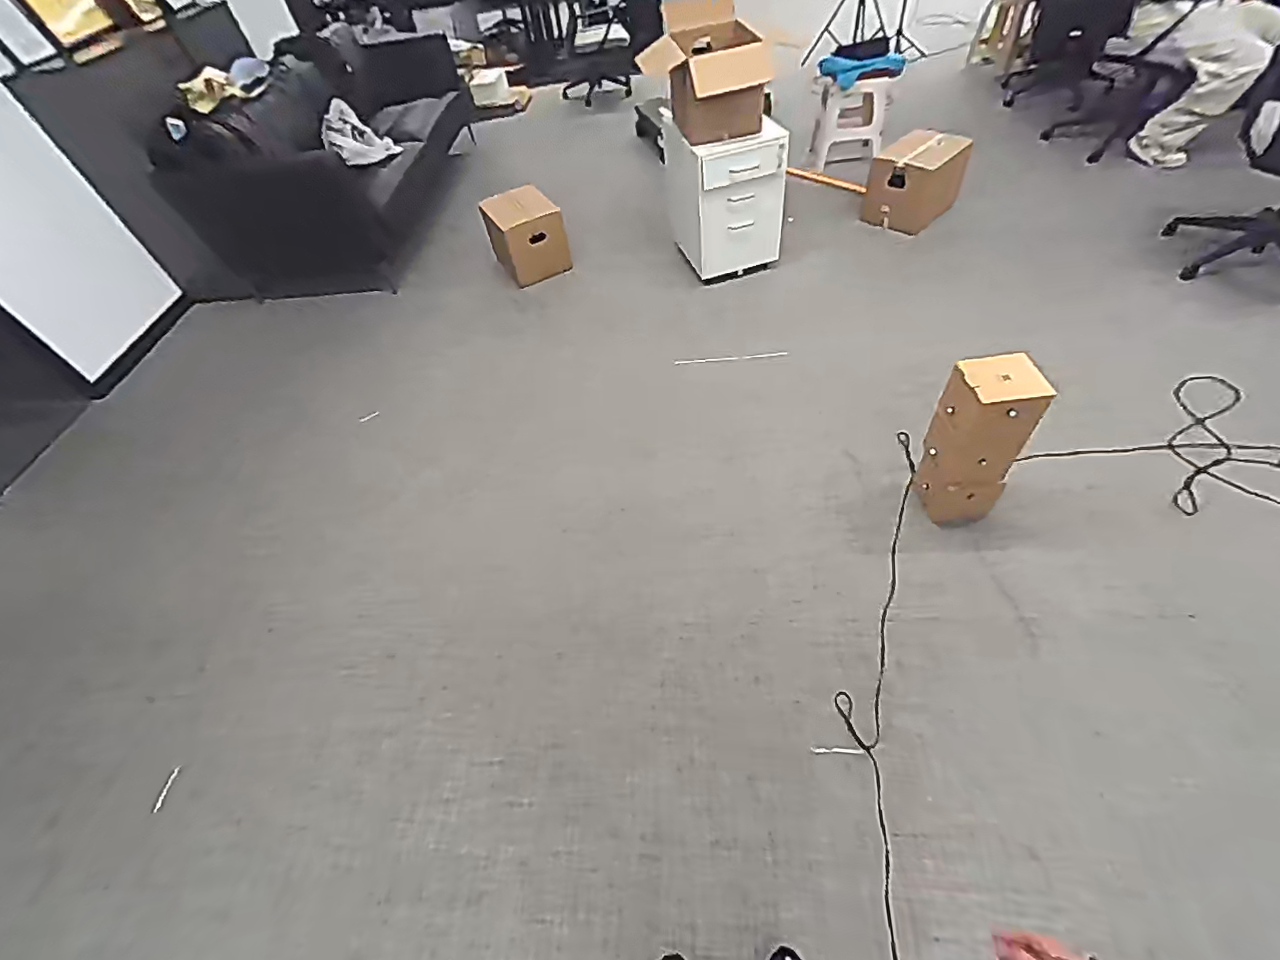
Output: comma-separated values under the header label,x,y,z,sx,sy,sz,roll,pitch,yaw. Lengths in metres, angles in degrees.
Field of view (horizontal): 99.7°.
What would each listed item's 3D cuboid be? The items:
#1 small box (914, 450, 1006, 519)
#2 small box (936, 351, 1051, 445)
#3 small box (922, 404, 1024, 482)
label,x,y,z,sx,sy,sz,roll,pitch,yaw
small box,0.967,0.005,1.660,0.179,0.176,0.168,-9,50,2
small box,0.916,-0.211,1.421,0.179,0.176,0.168,-8,49,4
small box,0.942,-0.112,1.548,0.179,0.176,0.168,-7,49,5
